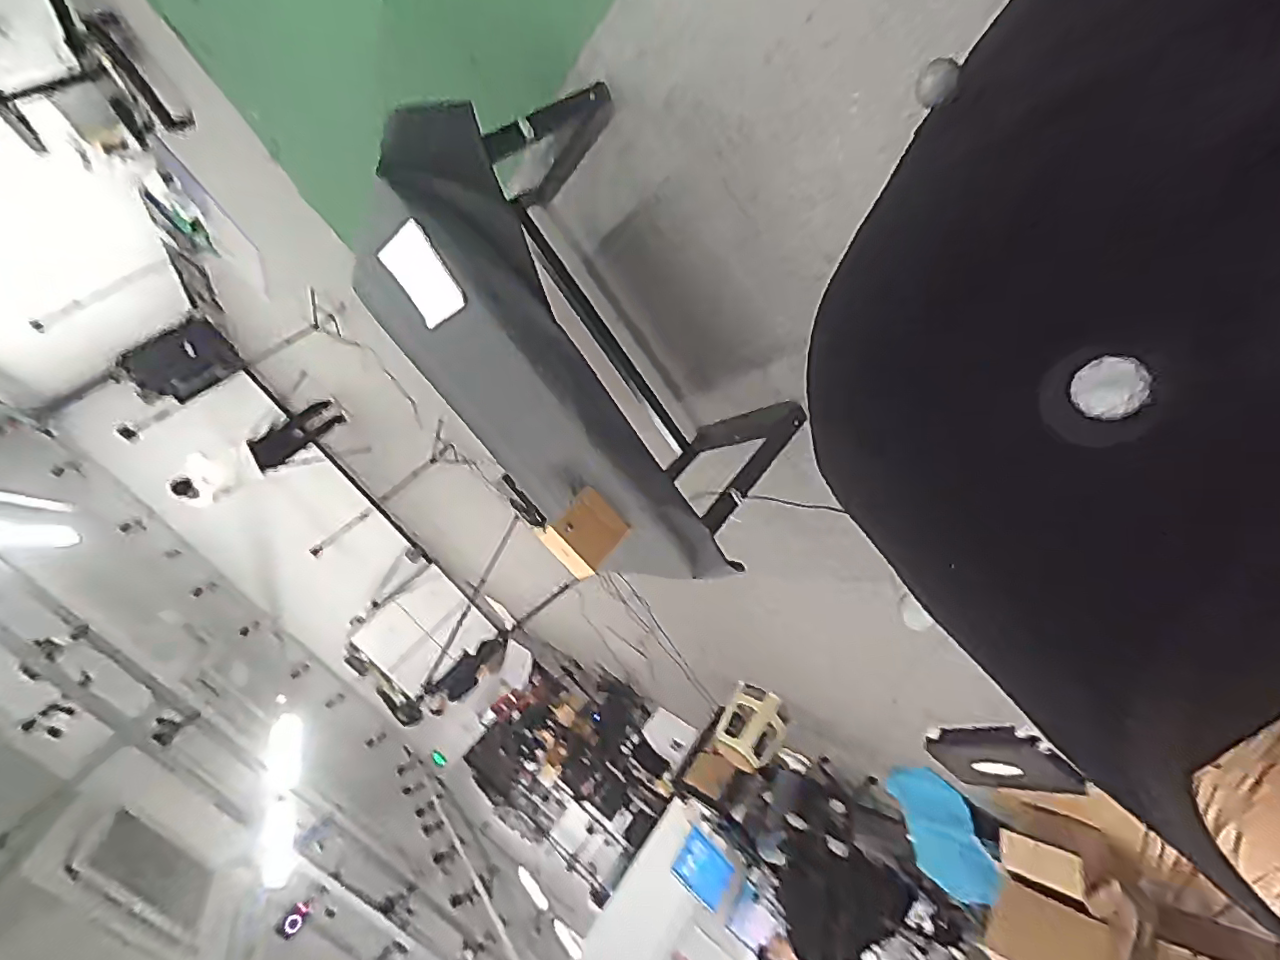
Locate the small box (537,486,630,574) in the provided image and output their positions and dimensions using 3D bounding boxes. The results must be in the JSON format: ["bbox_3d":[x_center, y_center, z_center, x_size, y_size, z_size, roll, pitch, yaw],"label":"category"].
[{"bbox_3d":[-0.158,0.143,1.535,0.179,0.176,0.168,47,153,-5],"label":"small box"}]
